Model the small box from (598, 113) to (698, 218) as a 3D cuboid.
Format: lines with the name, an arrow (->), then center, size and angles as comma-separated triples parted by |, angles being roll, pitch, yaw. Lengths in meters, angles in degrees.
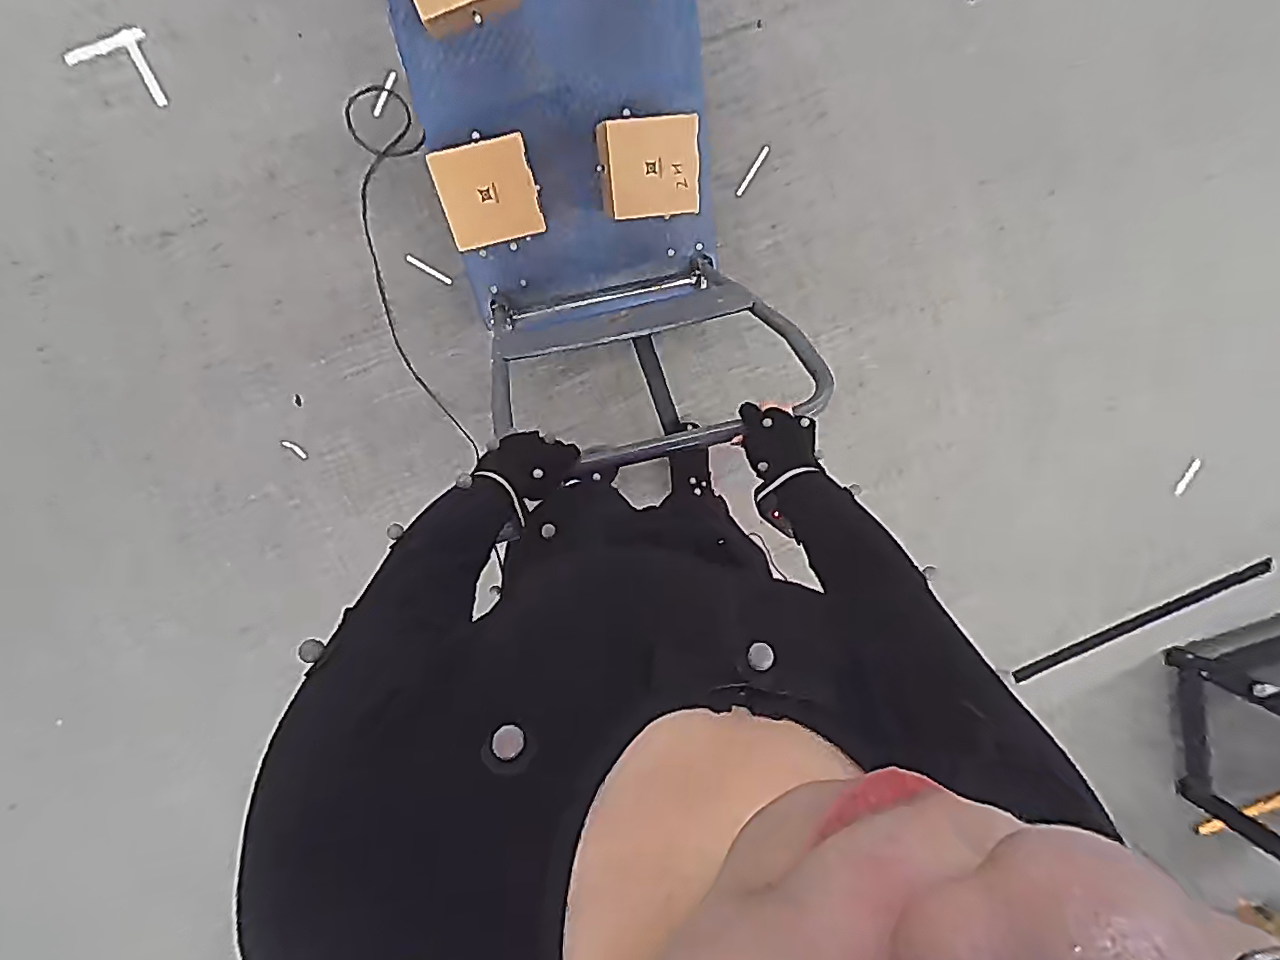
small box -> 0.011, -0.631, 1.092 | 0.179, 0.176, 0.168 | -10, 122, -7

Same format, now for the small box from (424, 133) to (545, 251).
small box -> -0.297, -0.563, 1.062 | 0.179, 0.176, 0.168 | -17, 122, -5
